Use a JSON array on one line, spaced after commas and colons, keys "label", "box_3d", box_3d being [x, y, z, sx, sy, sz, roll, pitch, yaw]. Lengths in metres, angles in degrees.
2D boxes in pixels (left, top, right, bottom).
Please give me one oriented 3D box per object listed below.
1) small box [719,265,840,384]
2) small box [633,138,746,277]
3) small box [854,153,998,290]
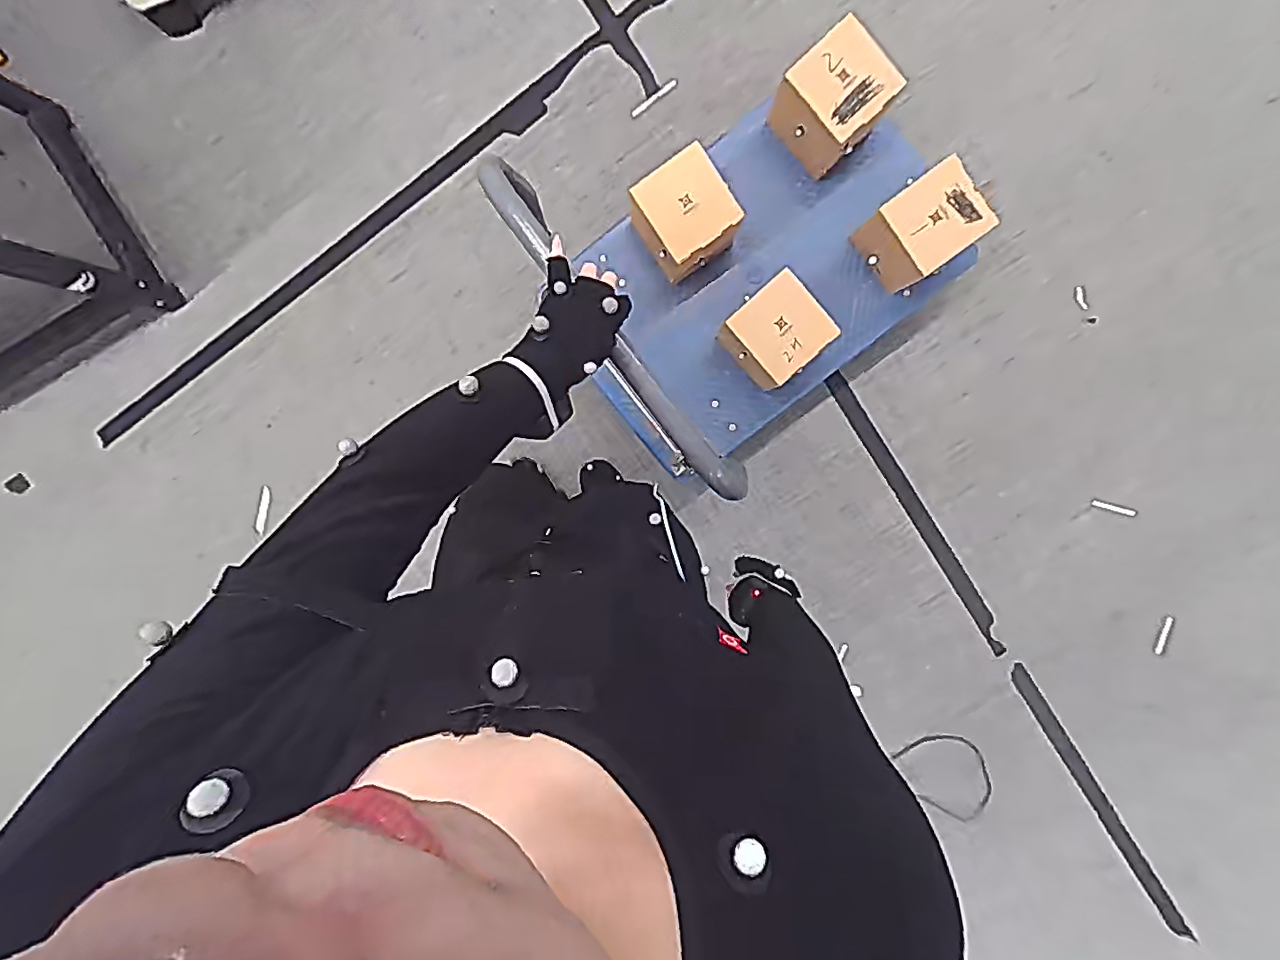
[{"label": "small box", "box_3d": [0.290, -0.323, 1.168, 0.168, 0.176, 0.179, -41, 94, 5]}, {"label": "small box", "box_3d": [0.096, -0.563, 1.144, 0.168, 0.176, 0.179, -34, 96, 4]}, {"label": "small box", "box_3d": [0.589, -0.532, 1.138, 0.179, 0.176, 0.168, -36, 95, 6]}]
